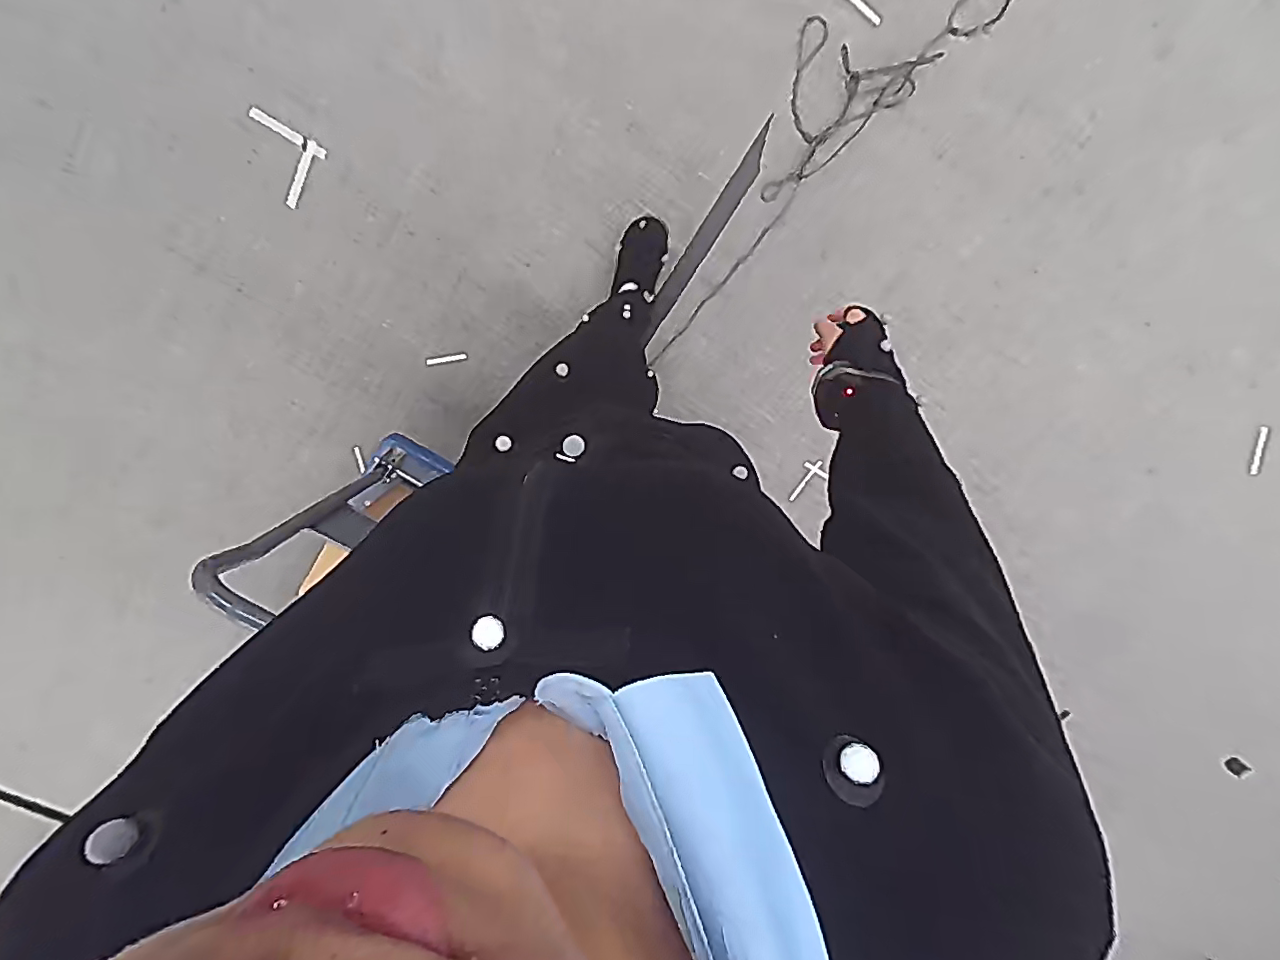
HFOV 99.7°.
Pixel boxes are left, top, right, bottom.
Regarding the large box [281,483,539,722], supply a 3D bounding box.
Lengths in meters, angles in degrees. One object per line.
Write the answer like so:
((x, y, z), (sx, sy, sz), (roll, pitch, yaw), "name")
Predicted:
((-0.503, 0.271, 1.265), (0.408, 0.320, 0.320), (33, 104, -10), "large box")
